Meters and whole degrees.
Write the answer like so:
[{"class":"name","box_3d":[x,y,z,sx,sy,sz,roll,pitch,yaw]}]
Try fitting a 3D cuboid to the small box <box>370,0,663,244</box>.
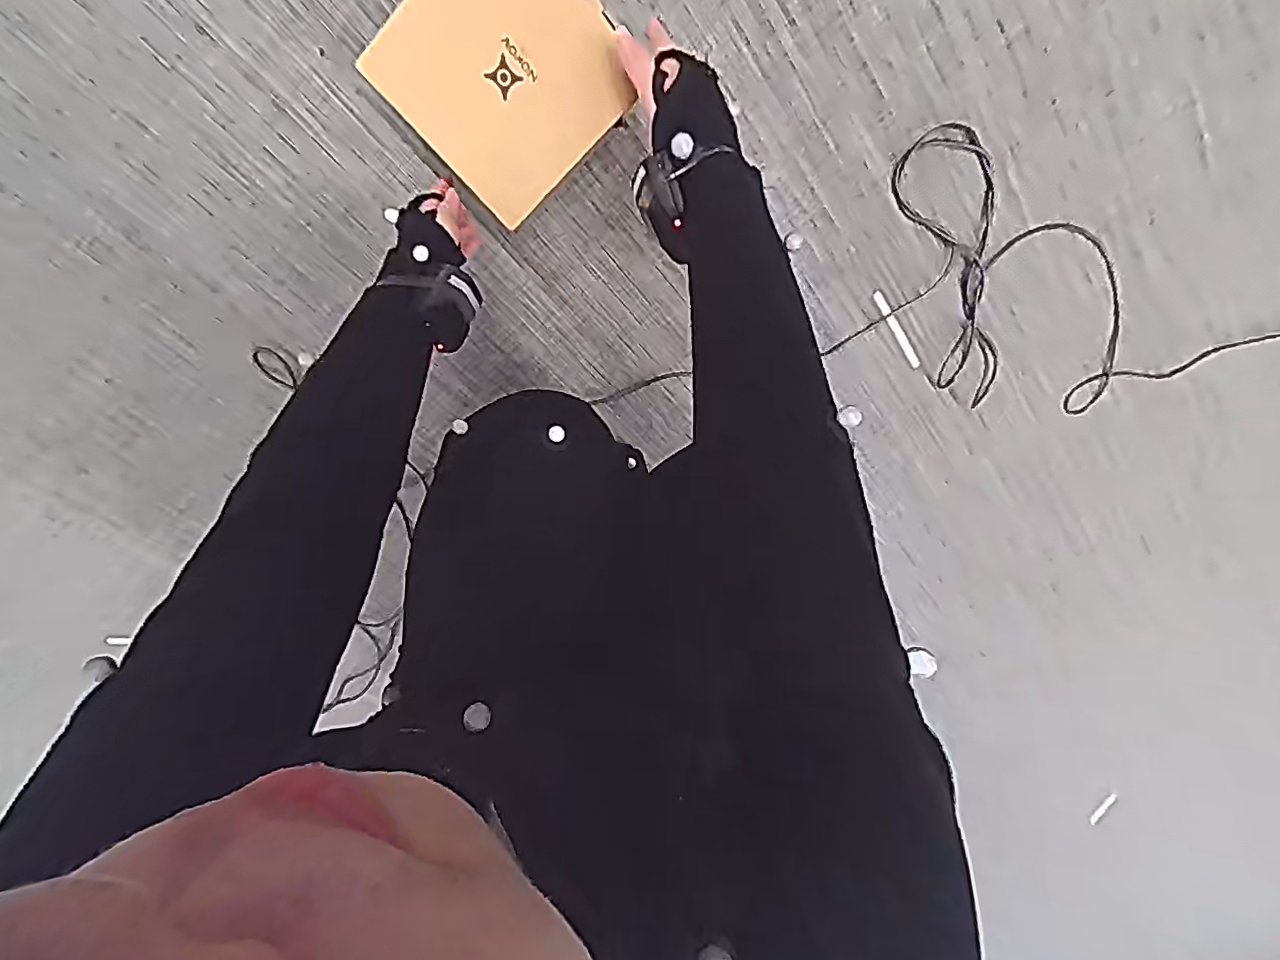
[{"class":"small box","box_3d":[-0.095,-0.353,0.470,0.179,0.176,0.168,42,87,-6]}]
